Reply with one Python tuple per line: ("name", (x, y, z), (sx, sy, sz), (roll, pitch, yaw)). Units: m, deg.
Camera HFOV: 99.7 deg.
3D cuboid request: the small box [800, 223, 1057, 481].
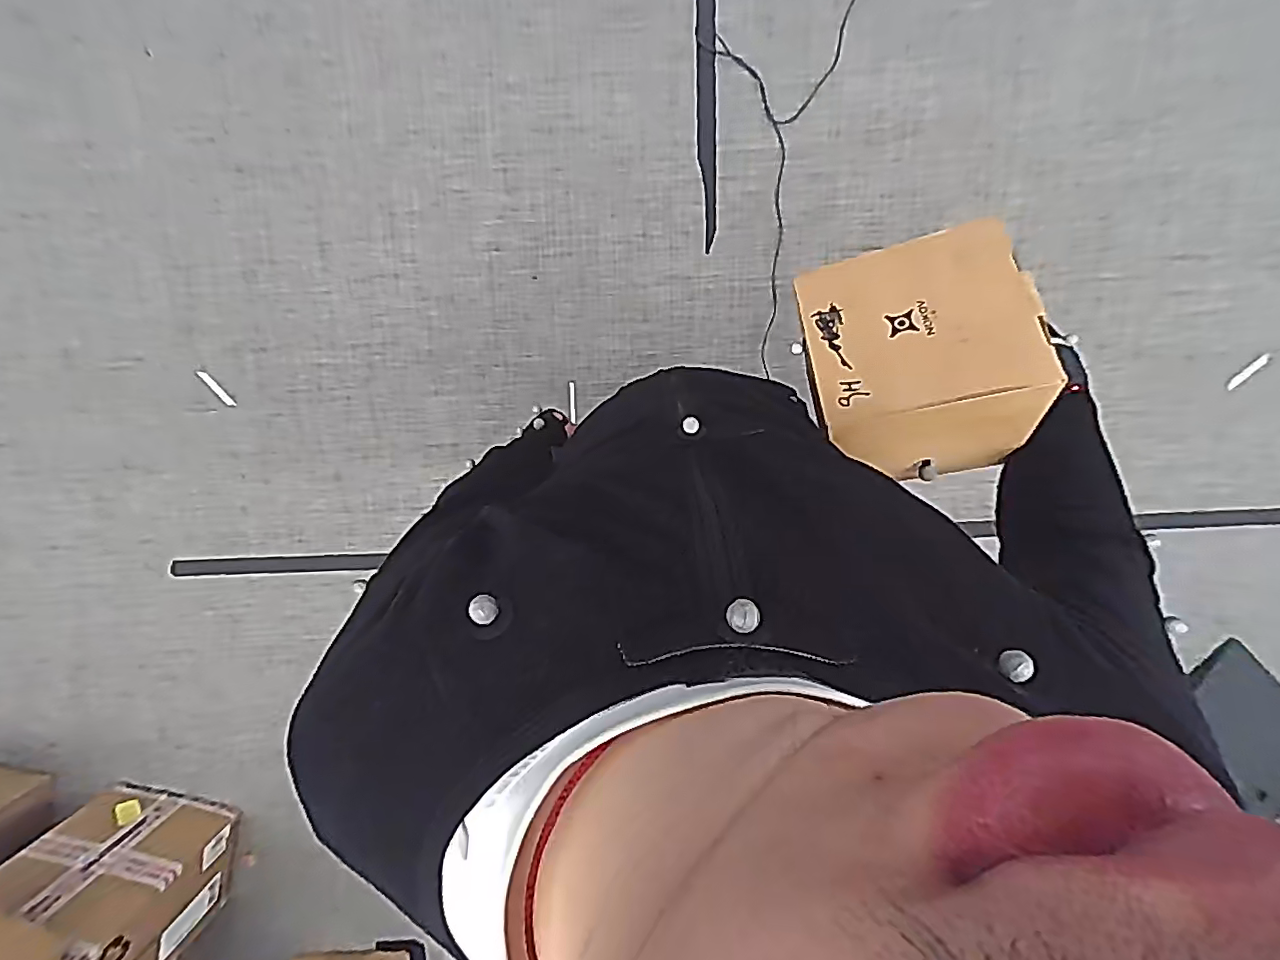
("small box", (0.265, -0.112, 0.542), (0.179, 0.176, 0.168), (-10, 65, 17))
